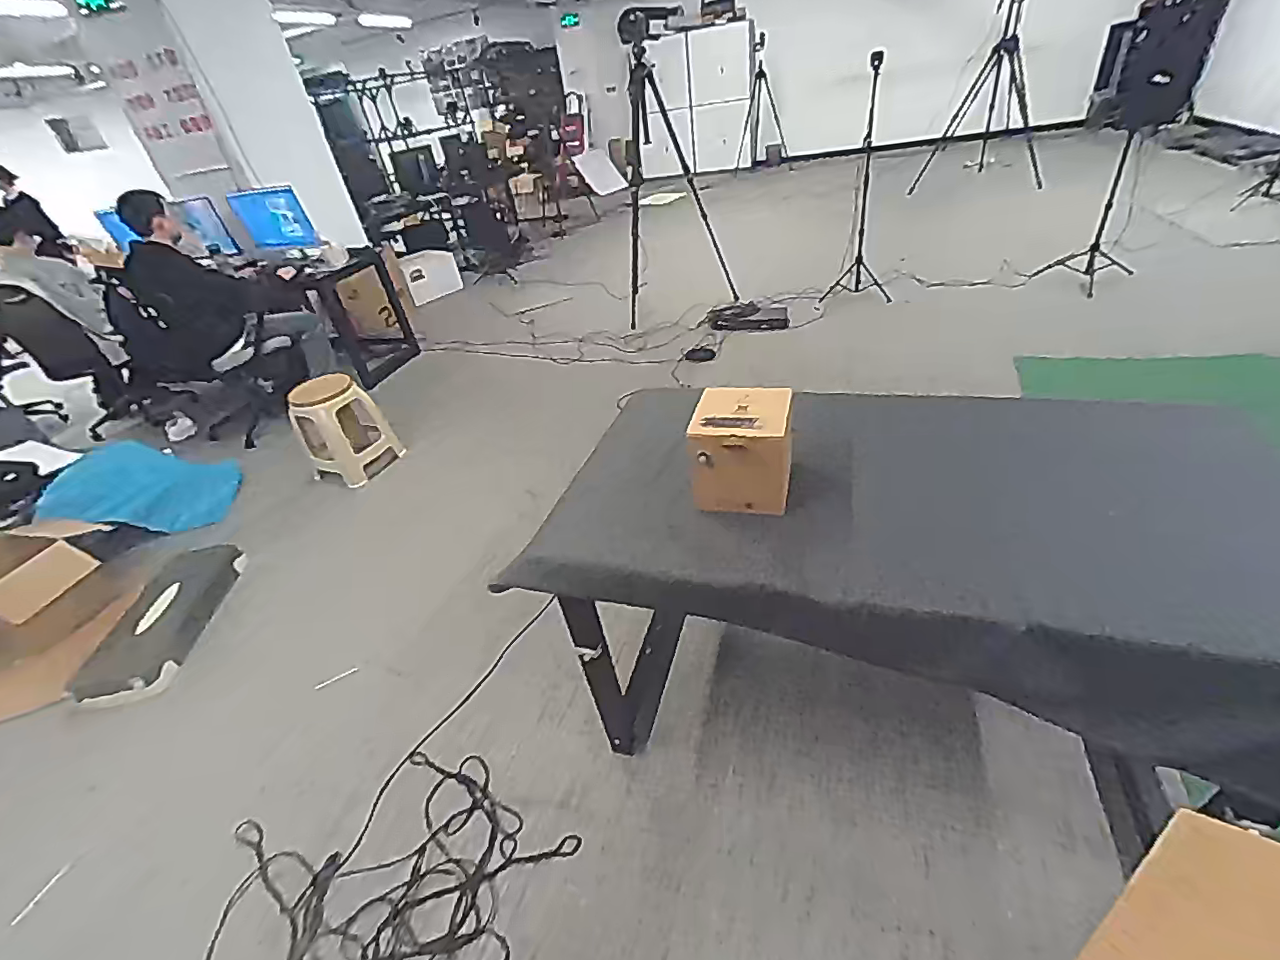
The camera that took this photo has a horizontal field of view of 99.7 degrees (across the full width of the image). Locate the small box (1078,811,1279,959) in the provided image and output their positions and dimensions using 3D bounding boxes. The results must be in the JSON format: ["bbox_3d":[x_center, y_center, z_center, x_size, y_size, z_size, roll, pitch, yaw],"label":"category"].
[{"bbox_3d":[0.399,0.335,0.297,0.168,0.176,0.179,42,80,10],"label":"small box"}]
